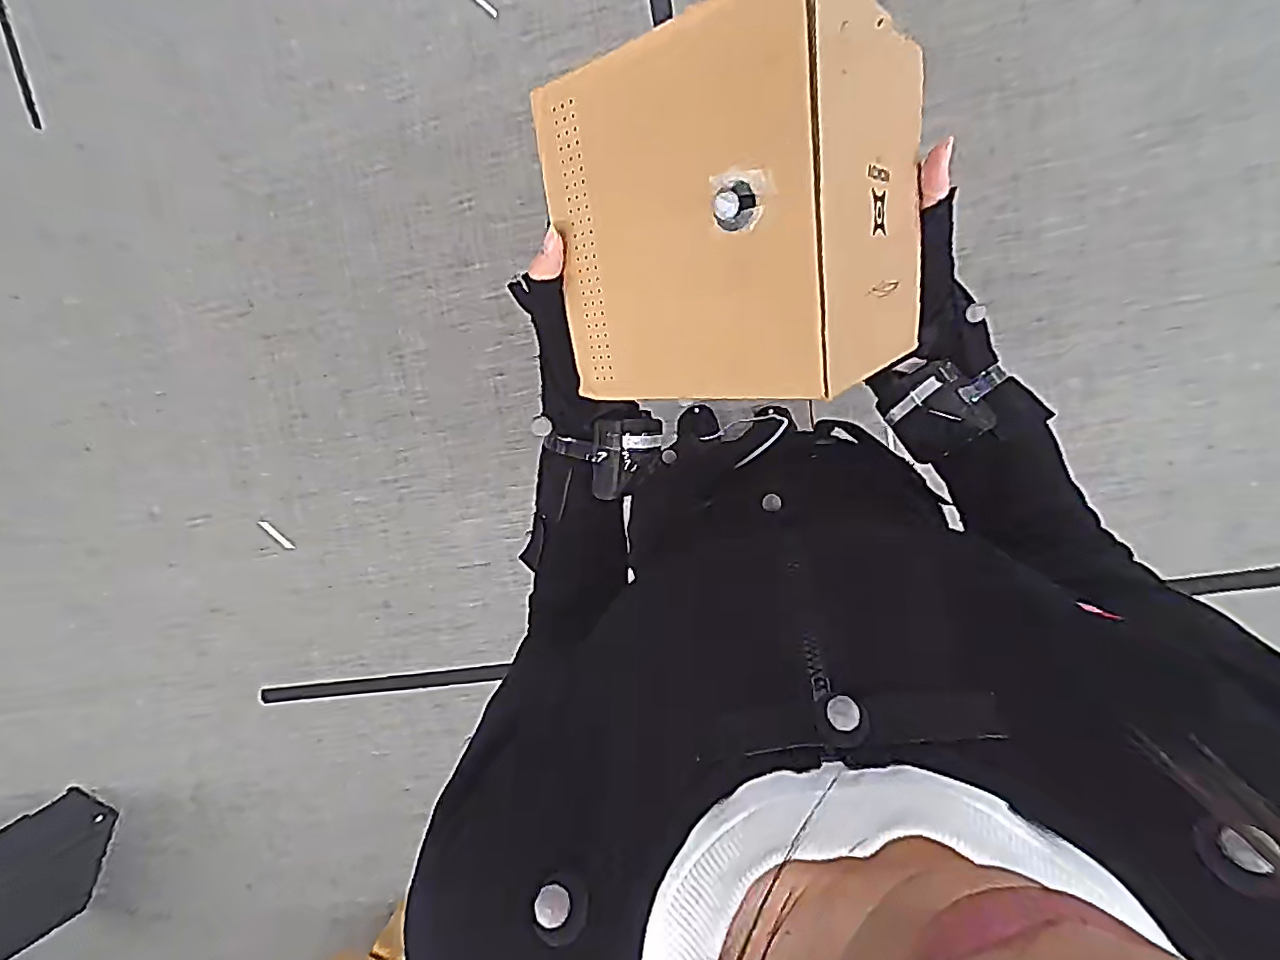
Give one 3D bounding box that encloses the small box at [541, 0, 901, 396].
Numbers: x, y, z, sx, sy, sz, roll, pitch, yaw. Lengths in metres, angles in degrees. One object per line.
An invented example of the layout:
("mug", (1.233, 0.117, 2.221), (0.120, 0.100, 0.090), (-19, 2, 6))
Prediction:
("small box", (0.057, -0.156, 0.350), (0.176, 0.168, 0.179), (6, 112, 39))
